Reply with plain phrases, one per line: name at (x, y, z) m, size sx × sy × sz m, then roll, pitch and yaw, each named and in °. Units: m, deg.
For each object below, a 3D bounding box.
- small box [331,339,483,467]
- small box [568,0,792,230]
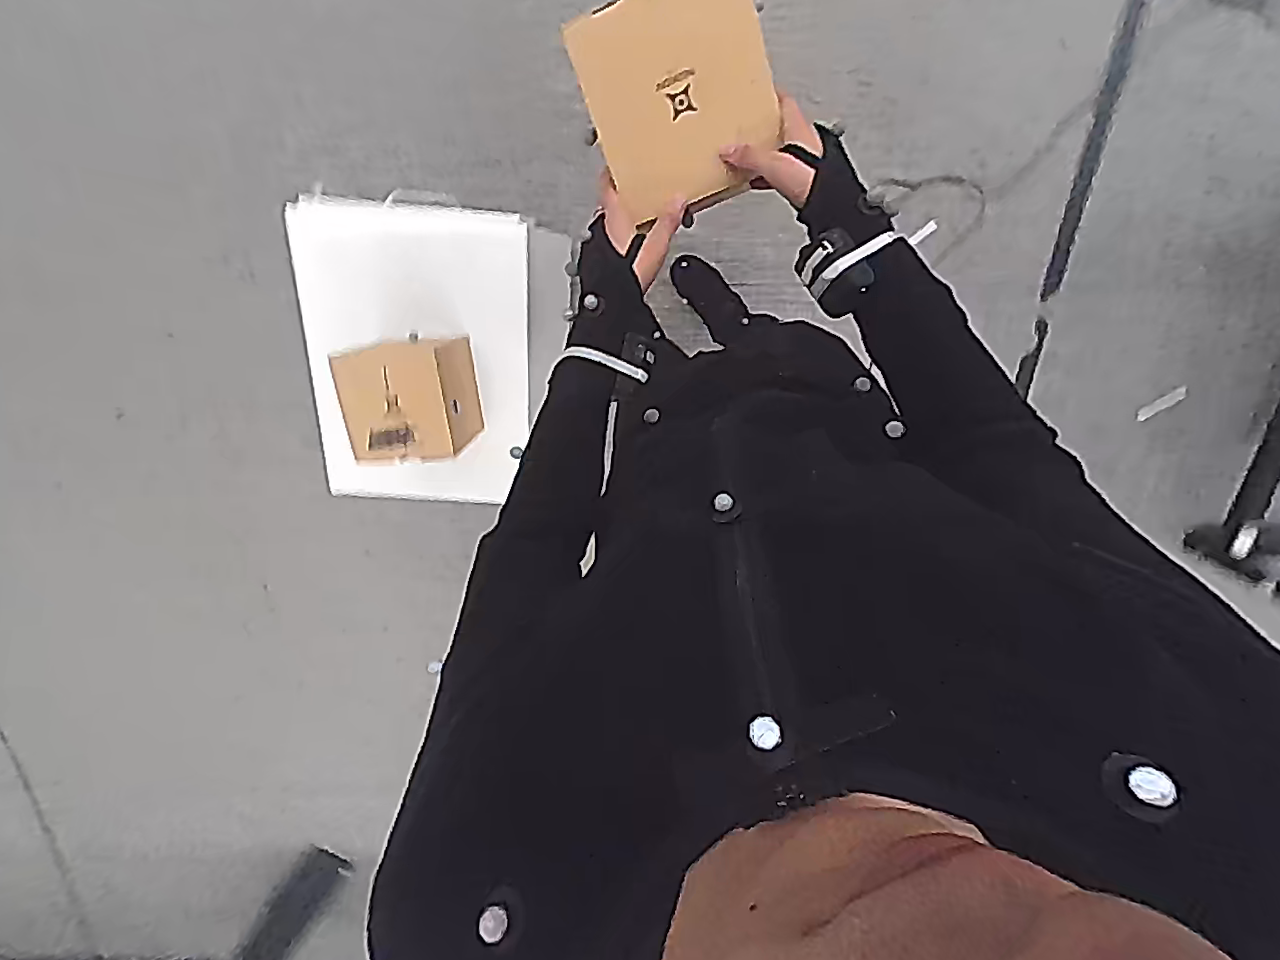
small box at (-0.377, -0.134, 0.914) m, size 0.168 × 0.176 × 0.179 m, roll -4°, pitch 111°, yaw 2°
small box at (0.044, -0.377, 0.567) m, size 0.168 × 0.176 × 0.179 m, roll -18°, pitch 108°, yaw 9°
